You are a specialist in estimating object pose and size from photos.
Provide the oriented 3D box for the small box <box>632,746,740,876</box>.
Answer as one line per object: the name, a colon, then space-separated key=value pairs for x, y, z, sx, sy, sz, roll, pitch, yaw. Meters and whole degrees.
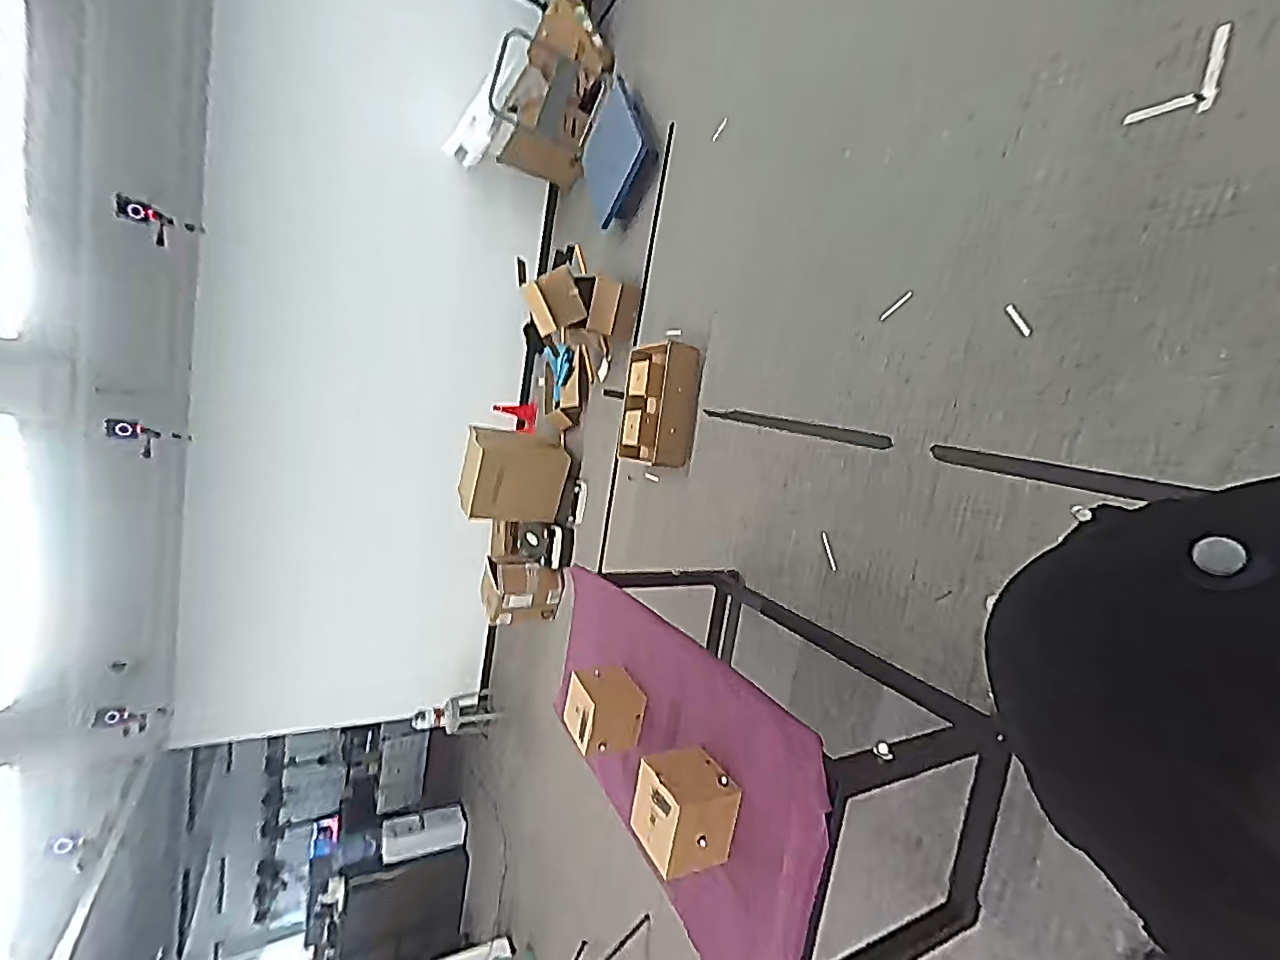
small box: x=0.104 y=0.735 z=1.224 sx=0.168 sy=0.176 sz=0.179 roll=23 pitch=105 yaw=59

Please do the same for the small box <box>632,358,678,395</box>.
small box: x=0.078 y=-0.538 z=2.827 sx=0.179 sy=0.176 sz=0.168 roll=14 pitch=99 yaw=60

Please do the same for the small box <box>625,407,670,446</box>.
small box: x=0.042 y=-0.281 z=2.843 sx=0.168 sy=0.176 sz=0.179 roll=11 pitch=94 yaw=61
